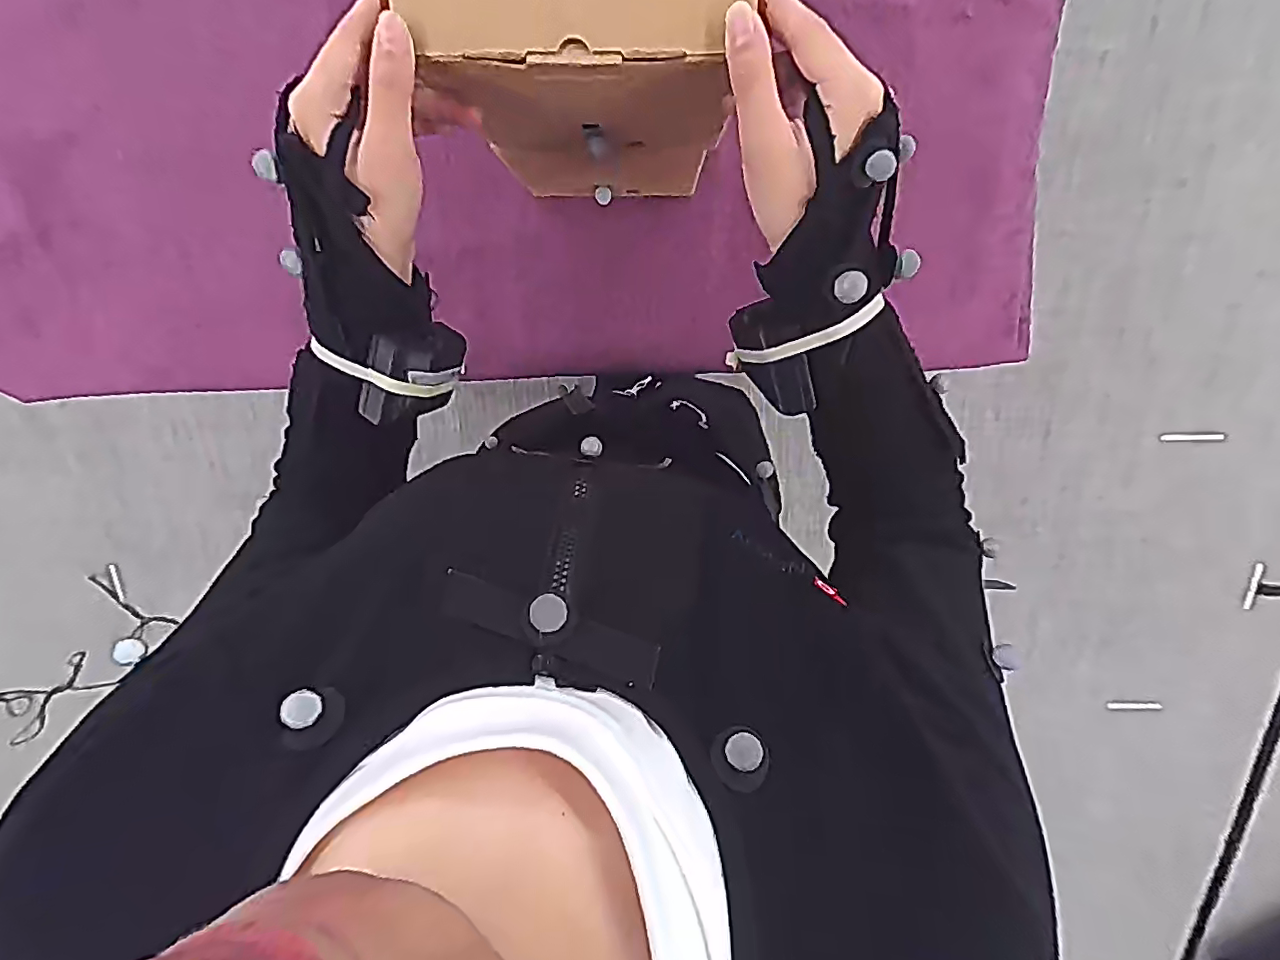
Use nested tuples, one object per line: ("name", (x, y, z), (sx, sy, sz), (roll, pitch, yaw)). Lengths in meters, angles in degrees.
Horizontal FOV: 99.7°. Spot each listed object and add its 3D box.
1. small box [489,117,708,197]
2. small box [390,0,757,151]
("small box", (-0.028, -0.356, 0.457), (0.168, 0.176, 0.179), (1, 107, 1))
("small box", (-0.026, -0.304, 0.295), (0.168, 0.176, 0.179), (2, 108, 2))
